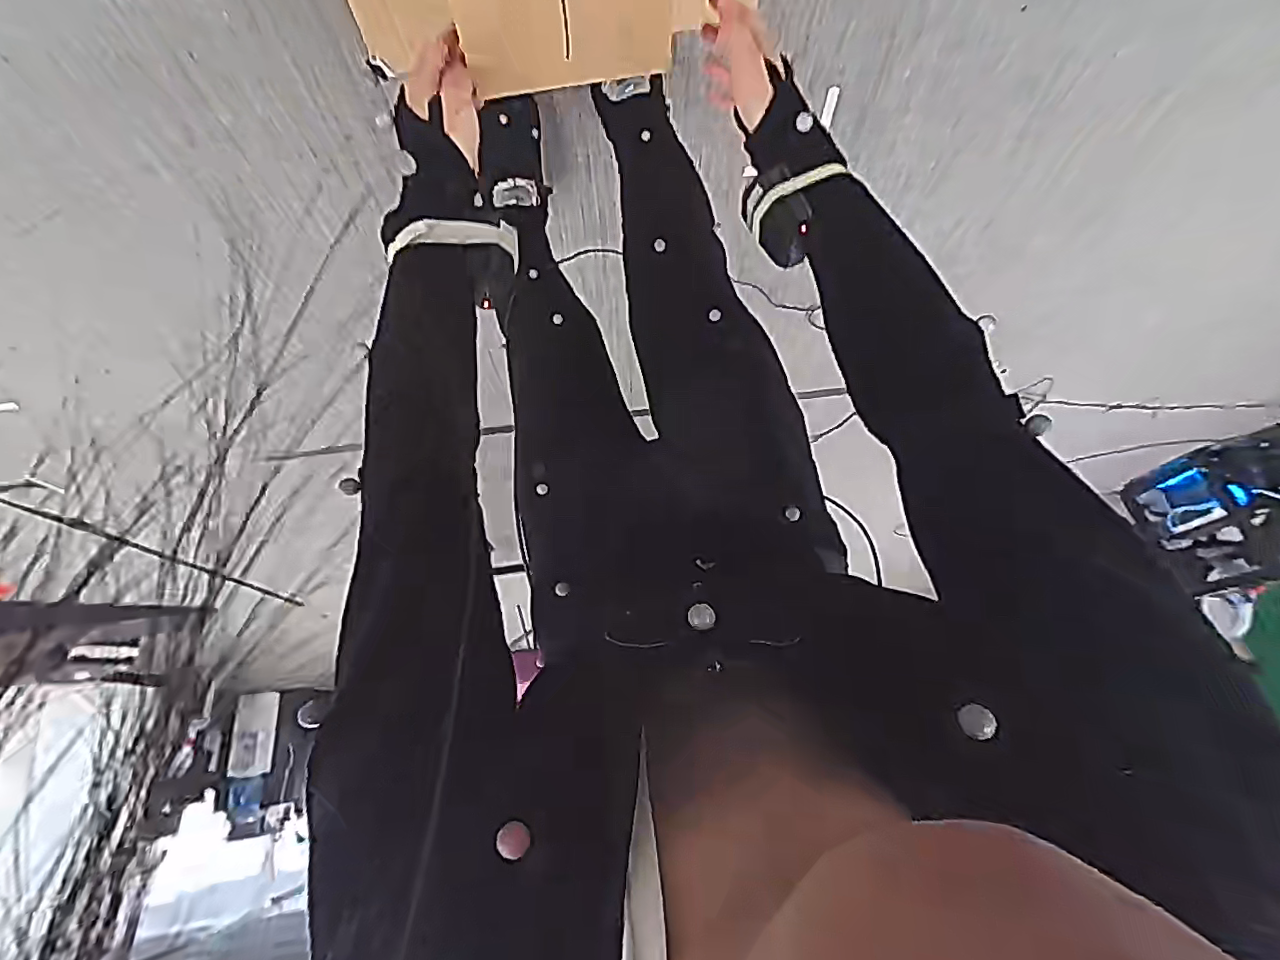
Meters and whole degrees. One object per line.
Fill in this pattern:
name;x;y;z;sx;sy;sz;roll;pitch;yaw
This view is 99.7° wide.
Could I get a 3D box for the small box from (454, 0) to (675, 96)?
small box;-0.068;-0.439;0.405;0.168;0.176;0.179;-9;156;-1
